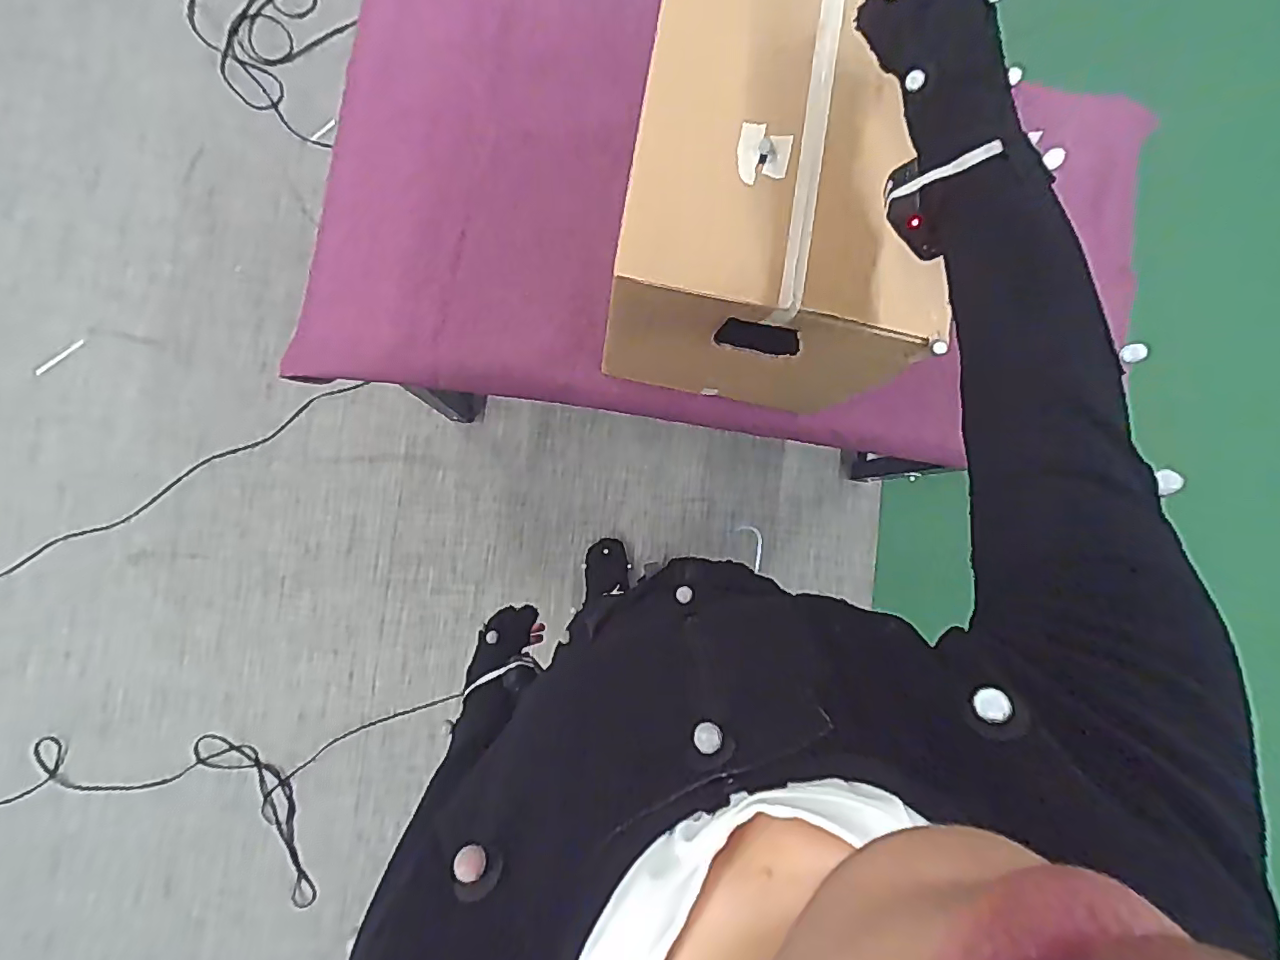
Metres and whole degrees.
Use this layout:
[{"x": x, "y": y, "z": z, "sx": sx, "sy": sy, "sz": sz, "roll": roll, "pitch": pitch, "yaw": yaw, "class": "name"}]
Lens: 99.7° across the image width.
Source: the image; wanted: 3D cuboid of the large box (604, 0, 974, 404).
[{"x": 0.143, "y": -0.341, "z": 0.662, "sx": 0.320, "sy": 0.320, "sz": 0.408, "roll": 10, "pitch": 85, "yaw": -5, "class": "large box"}]
